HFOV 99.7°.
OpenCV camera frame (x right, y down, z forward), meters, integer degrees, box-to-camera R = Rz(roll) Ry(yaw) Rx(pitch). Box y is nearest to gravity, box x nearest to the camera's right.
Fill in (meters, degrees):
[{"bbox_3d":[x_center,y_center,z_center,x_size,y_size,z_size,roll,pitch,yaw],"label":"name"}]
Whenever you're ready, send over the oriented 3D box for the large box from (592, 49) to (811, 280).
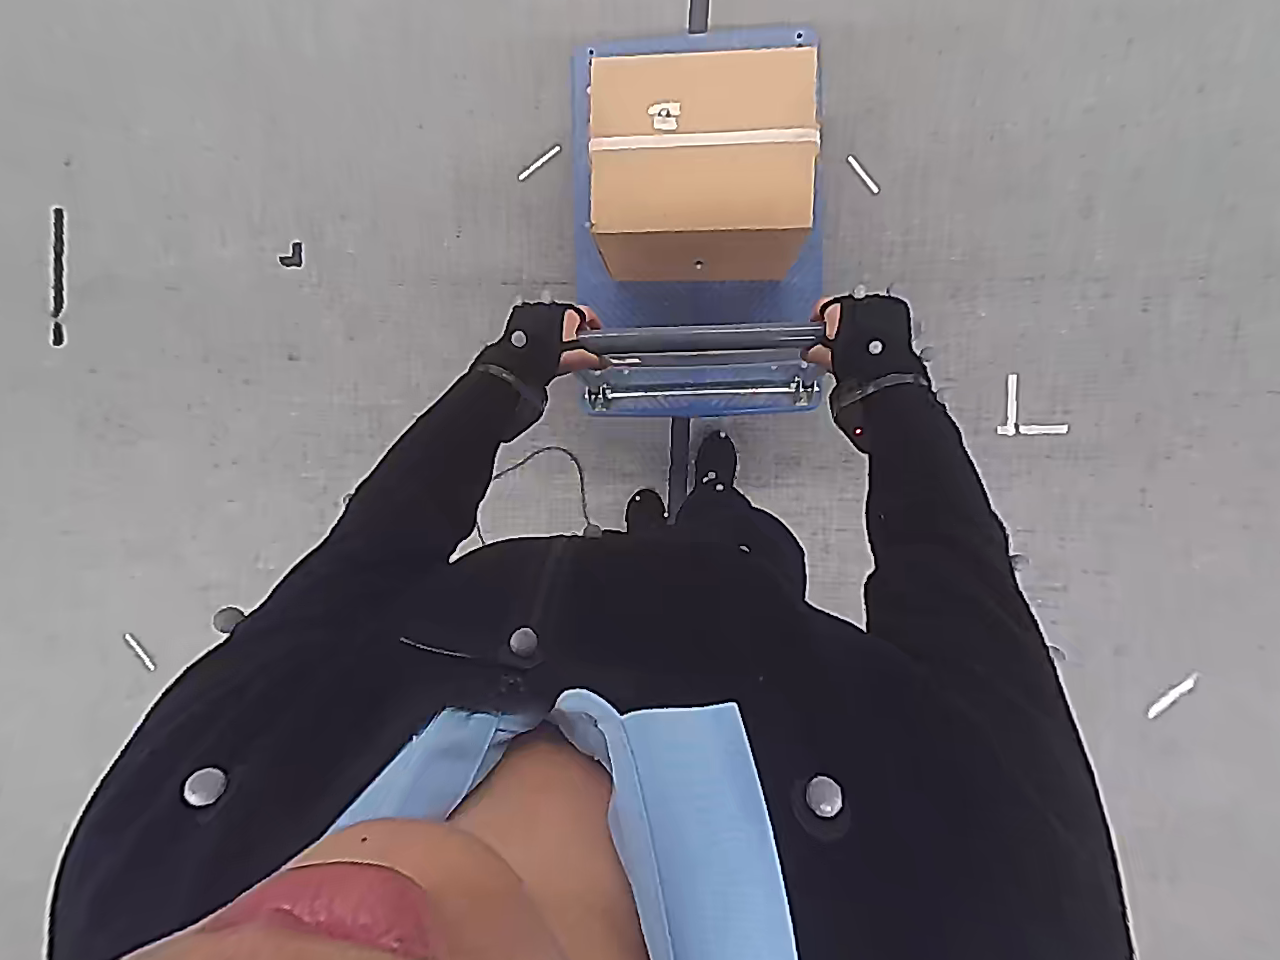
[{"bbox_3d":[0.125,-0.624,1.137,0.408,0.320,0.320,1,93,6],"label":"large box"}]
